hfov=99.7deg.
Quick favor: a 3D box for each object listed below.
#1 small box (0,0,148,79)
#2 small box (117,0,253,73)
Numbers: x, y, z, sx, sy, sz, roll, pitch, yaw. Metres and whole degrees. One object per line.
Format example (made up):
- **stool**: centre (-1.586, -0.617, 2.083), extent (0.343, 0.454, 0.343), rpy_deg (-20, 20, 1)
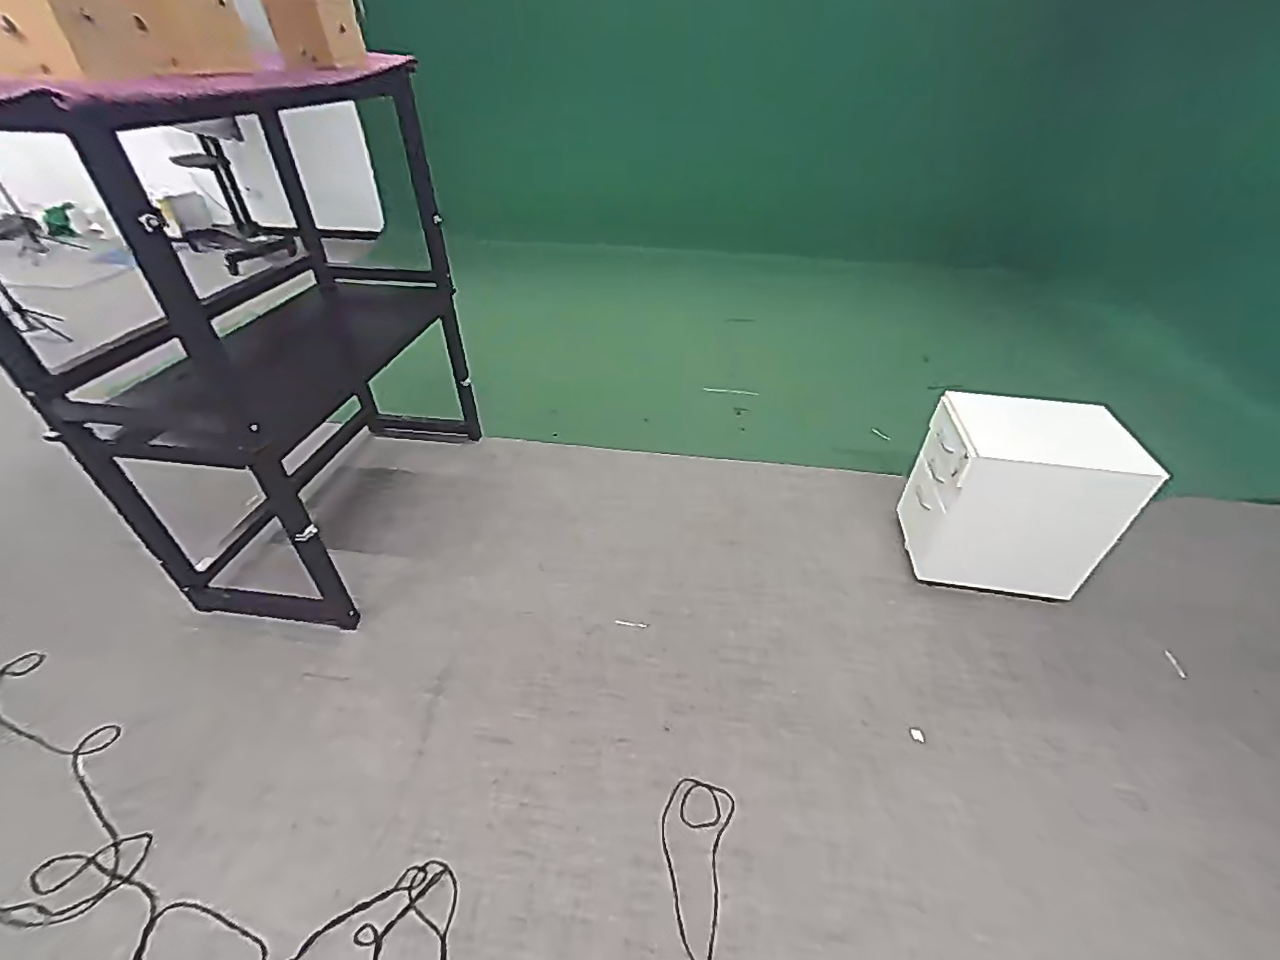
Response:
- **small box**: centre (-1.031, -0.809, 0.944), extent (0.168, 0.176, 0.179), rpy_deg (0, 39, -2)
- **small box**: centre (-1.015, -1.014, 1.200), extent (0.168, 0.176, 0.179), rpy_deg (5, 39, 8)
